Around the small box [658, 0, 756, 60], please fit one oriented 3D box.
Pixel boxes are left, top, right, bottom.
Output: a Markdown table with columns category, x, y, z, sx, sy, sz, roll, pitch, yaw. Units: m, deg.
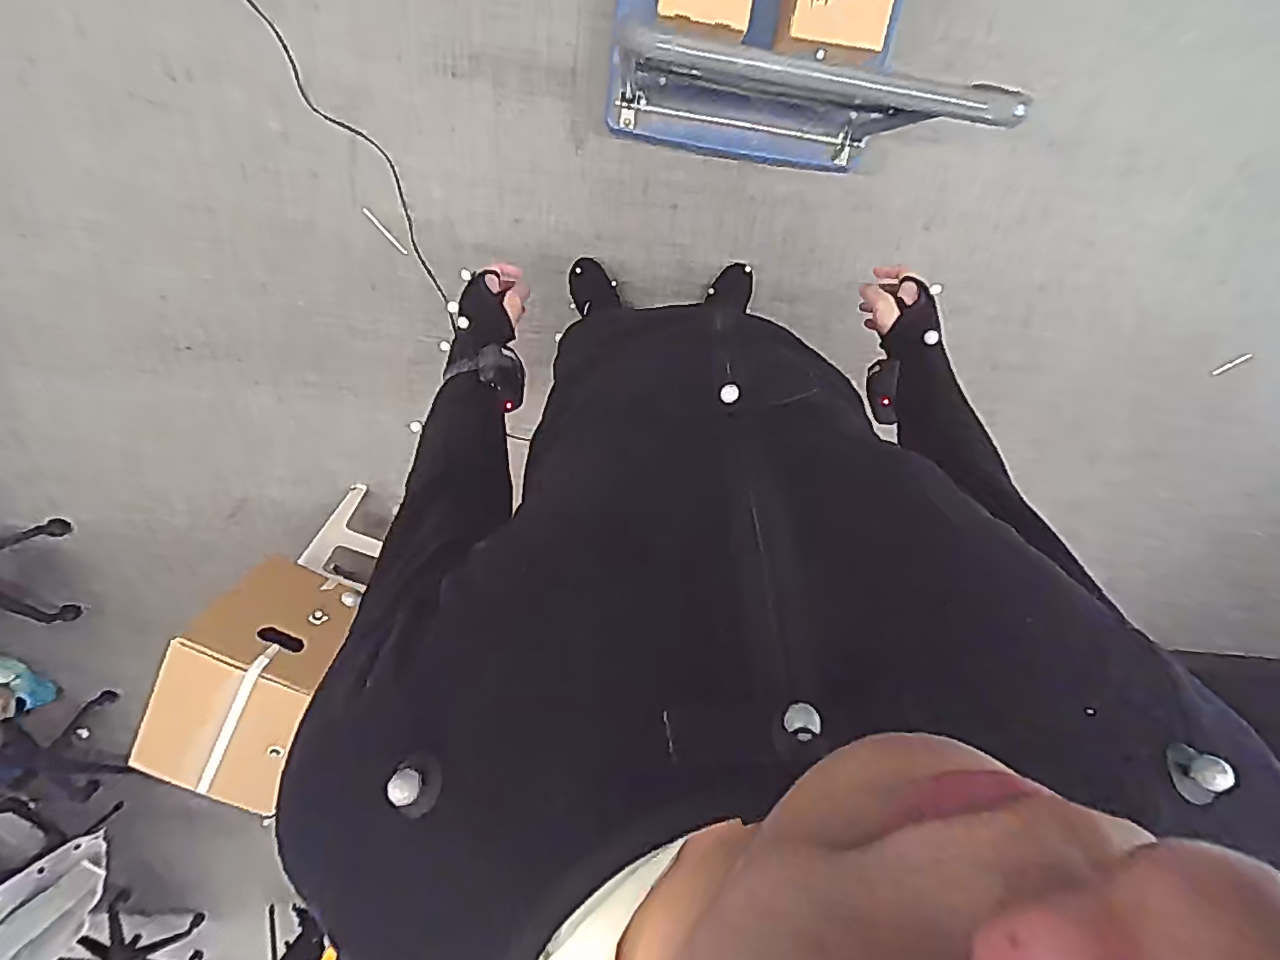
| category | x | y | z | sx | sy | sz | roll | pitch | yaw |
| --- | --- | --- | --- | --- | --- | --- | --- | --- | --- |
| small box | 0.129 | -0.928 | 1.008 | 0.168 | 0.176 | 0.179 | 8 | 114 | -5 |

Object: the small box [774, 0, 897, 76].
| category | x | y | z | sx | sy | sz | roll | pitch | yaw |
| --- | --- | --- | --- | --- | --- | --- | --- | --- | --- |
| small box | 0.369 | -0.893 | 1.022 | 0.179 | 0.176 | 0.168 | 6 | 114 | -4 |
